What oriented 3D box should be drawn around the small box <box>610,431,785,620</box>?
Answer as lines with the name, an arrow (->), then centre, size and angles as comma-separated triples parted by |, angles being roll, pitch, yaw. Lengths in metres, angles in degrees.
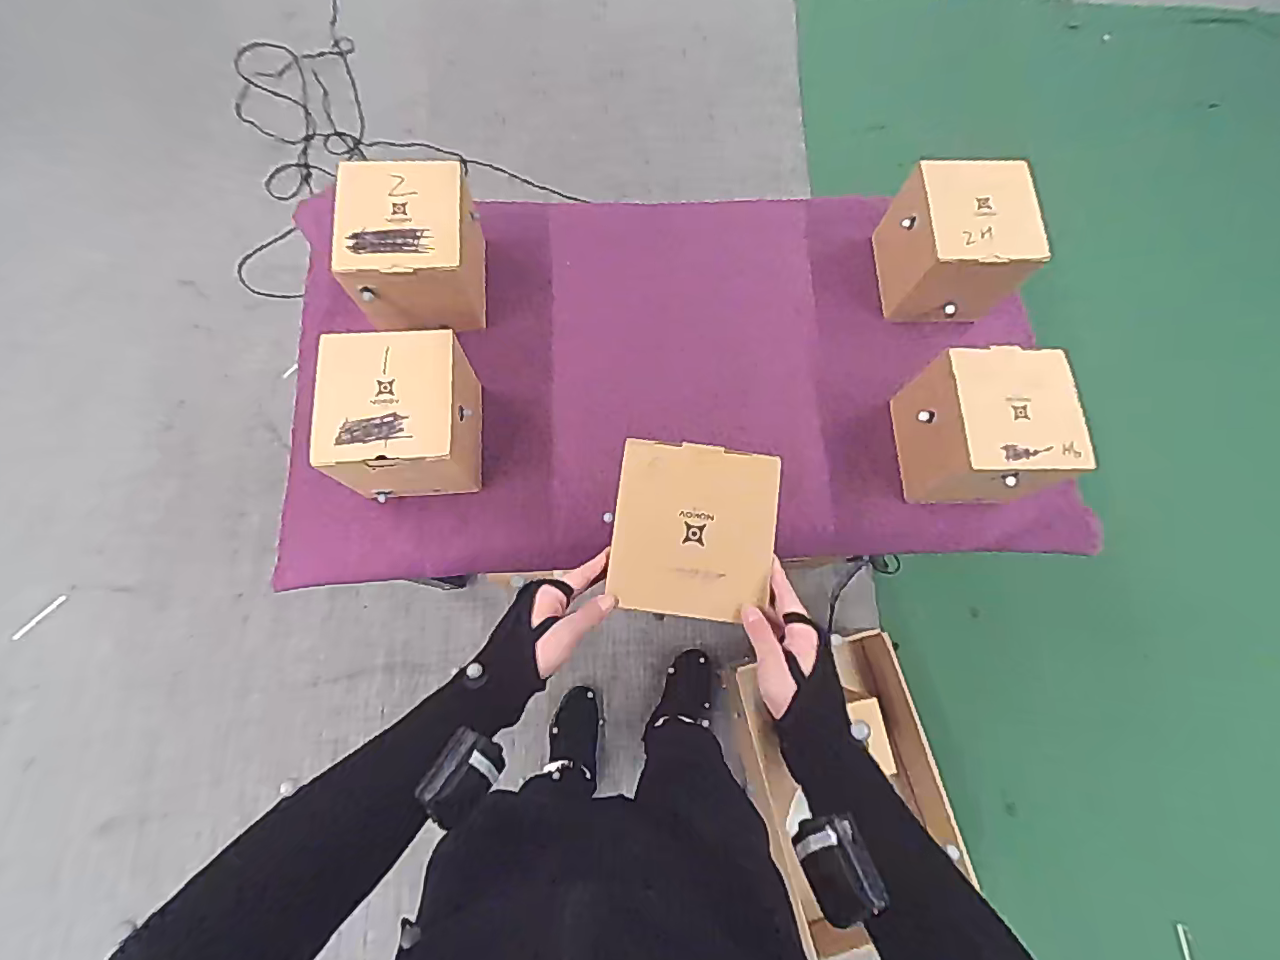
small box -> 0.060, 0.057, 0.630 | 0.168, 0.176, 0.179 | 8, 80, 1

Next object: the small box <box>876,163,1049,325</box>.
small box -> 0.501, -0.372, 0.870 | 0.168, 0.176, 0.179 | -1, 75, -1

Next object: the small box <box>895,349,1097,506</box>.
small box -> 0.494, -0.070, 0.783 | 0.168, 0.176, 0.179 | 0, 71, -1

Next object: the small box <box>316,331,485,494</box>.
small box -> -0.313, -0.082, 0.745 | 0.168, 0.176, 0.179 | -3, 73, -5

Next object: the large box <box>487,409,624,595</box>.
large box -> -0.203, 0.070, 1.398 | 0.320, 0.320, 0.408 | -4, 73, -5
